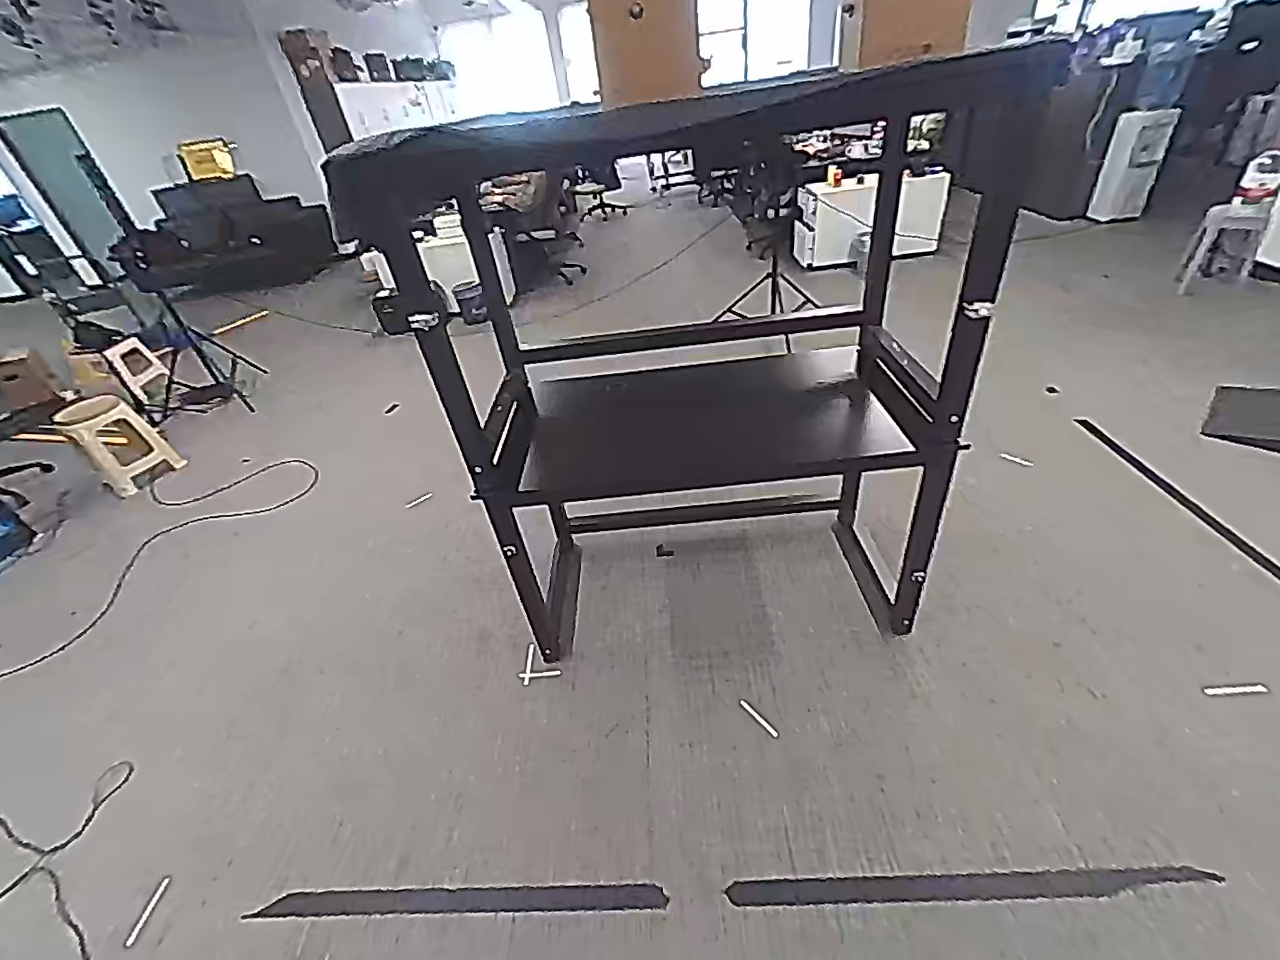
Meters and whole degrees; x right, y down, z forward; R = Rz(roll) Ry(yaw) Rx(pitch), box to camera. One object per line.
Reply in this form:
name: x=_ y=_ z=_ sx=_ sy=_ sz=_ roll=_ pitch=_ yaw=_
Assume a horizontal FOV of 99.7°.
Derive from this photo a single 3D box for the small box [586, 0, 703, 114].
small box: x=0.008 y=-0.746 z=0.938 sx=0.179 sy=0.176 sz=0.168 roll=-7 pitch=35 yaw=1
